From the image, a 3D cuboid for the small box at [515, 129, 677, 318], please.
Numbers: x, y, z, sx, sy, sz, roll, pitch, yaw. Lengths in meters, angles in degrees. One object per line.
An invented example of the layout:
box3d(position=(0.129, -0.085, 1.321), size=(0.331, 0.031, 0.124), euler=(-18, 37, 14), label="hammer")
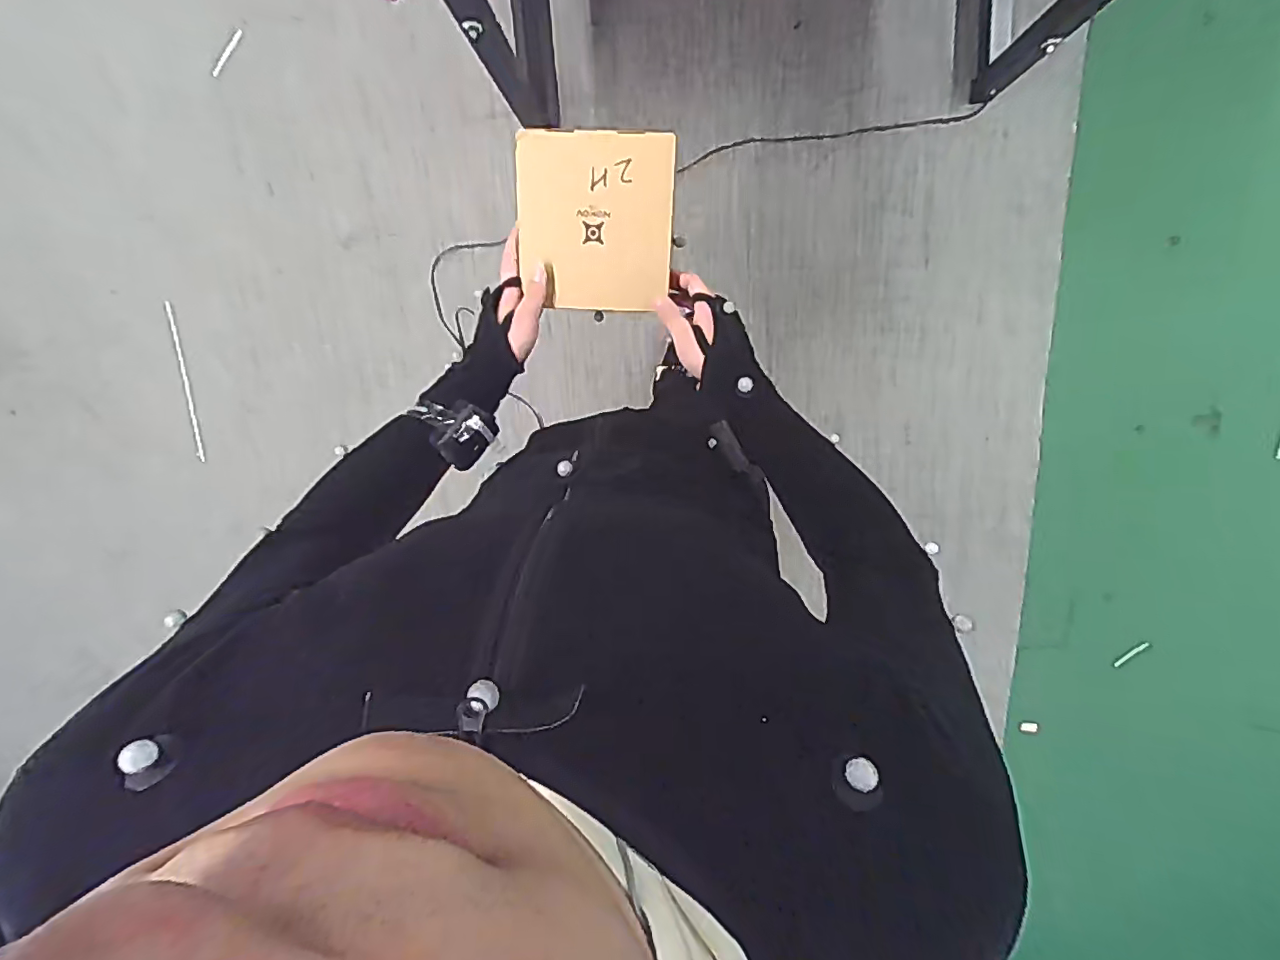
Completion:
box3d(position=(-0.043, -0.291, 0.642), size=(0.168, 0.176, 0.179), euler=(3, 109, 2), label="small box")
